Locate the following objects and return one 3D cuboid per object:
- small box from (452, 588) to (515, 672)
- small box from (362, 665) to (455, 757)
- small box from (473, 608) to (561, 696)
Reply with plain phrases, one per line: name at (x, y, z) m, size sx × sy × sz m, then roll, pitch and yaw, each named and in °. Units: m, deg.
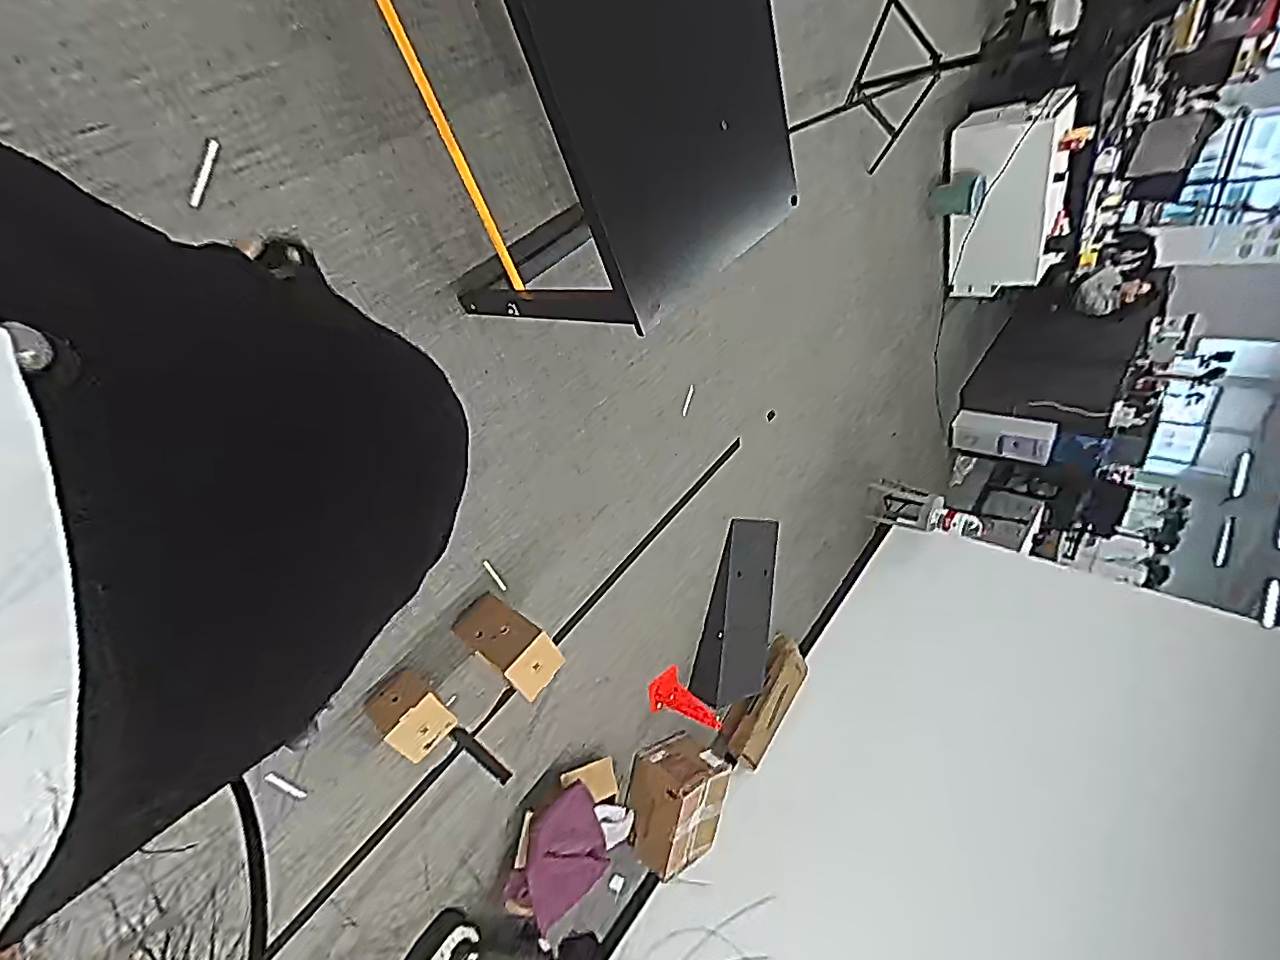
small box at (-0.500, 0.496, 1.801) m, size 0.179 × 0.176 × 0.168 m, roll -47°, pitch 133°, yaw -25°
small box at (-0.713, 0.698, 1.656) m, size 0.168 × 0.176 × 0.179 m, roll -43°, pitch 131°, yaw -27°
small box at (-0.386, 0.531, 1.691) m, size 0.168 × 0.176 × 0.179 m, roll -47°, pitch 132°, yaw -26°
